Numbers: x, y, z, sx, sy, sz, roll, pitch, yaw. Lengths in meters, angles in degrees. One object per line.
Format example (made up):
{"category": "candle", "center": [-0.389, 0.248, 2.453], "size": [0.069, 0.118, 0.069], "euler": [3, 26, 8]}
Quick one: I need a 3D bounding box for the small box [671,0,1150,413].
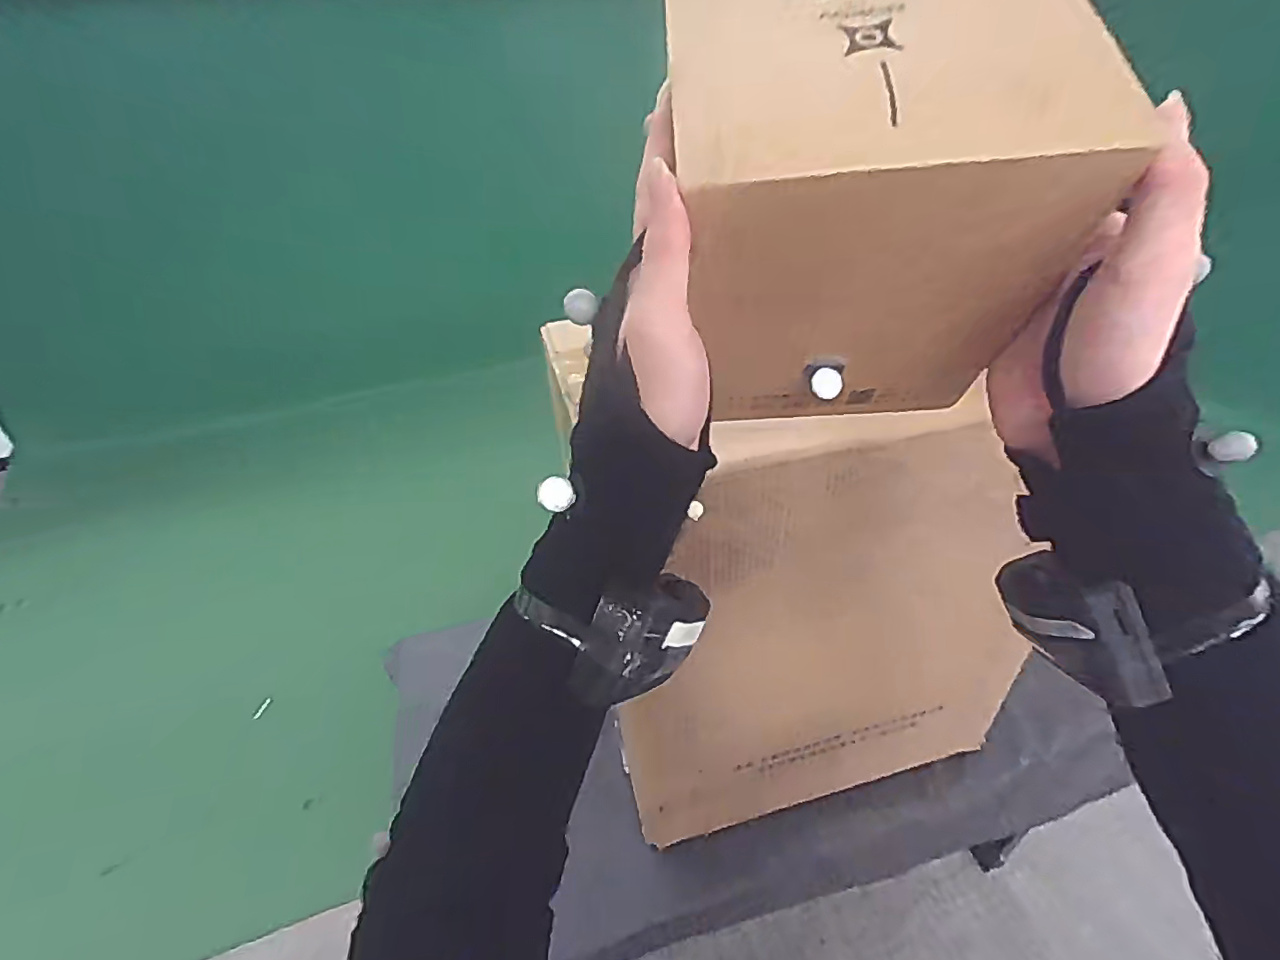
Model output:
{"category": "small box", "center": [0.101, -0.156, 0.297], "size": [0.168, 0.176, 0.179], "euler": [-2, 66, 5]}
